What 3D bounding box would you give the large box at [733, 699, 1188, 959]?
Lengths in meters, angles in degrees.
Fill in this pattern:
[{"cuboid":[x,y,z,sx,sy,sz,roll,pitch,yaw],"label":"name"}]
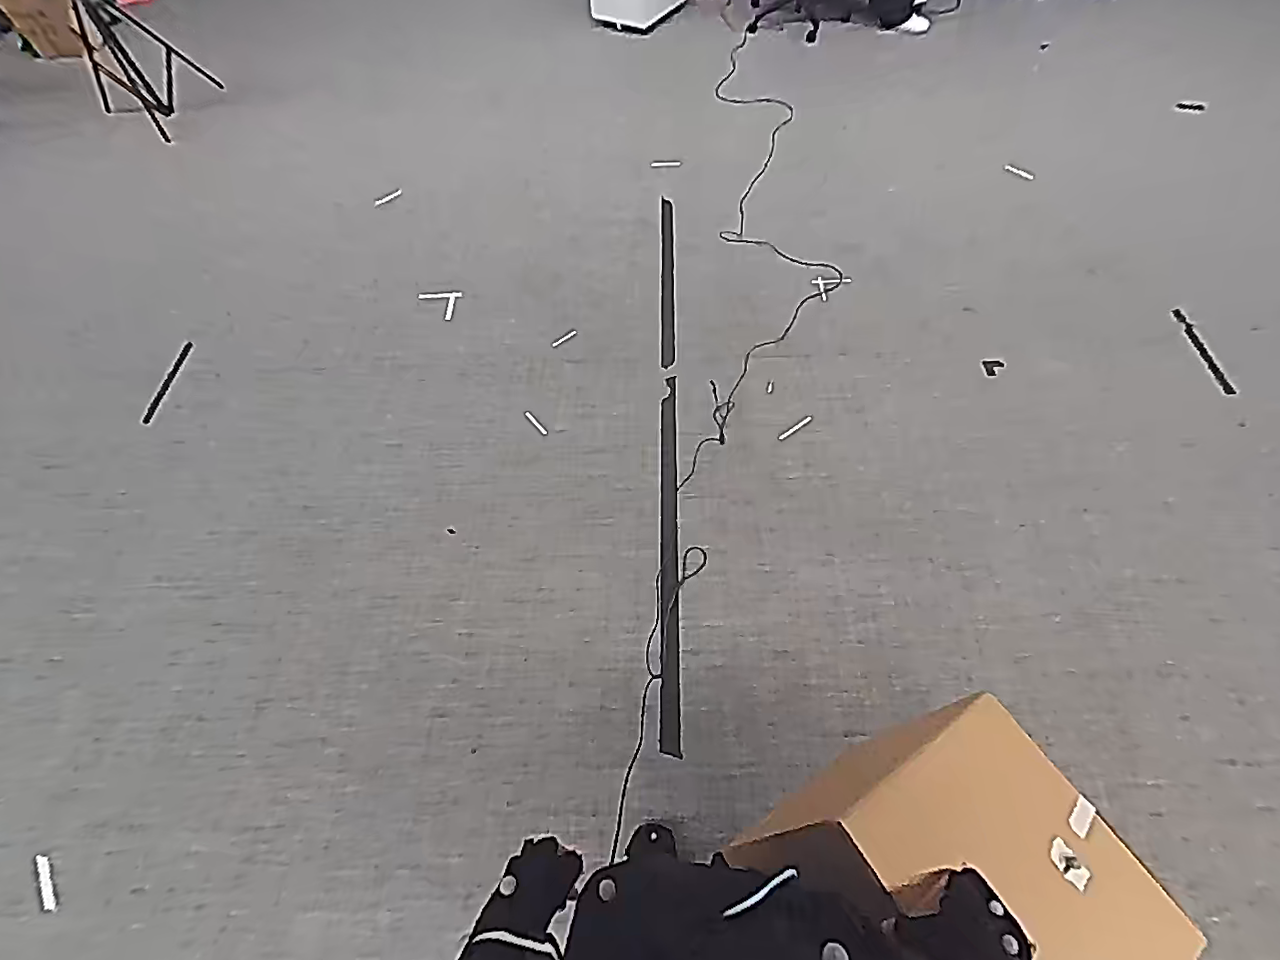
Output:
[{"cuboid":[0.394,0.575,0.765,0.320,0.408,0.320,-20,59,-26],"label":"large box"}]
